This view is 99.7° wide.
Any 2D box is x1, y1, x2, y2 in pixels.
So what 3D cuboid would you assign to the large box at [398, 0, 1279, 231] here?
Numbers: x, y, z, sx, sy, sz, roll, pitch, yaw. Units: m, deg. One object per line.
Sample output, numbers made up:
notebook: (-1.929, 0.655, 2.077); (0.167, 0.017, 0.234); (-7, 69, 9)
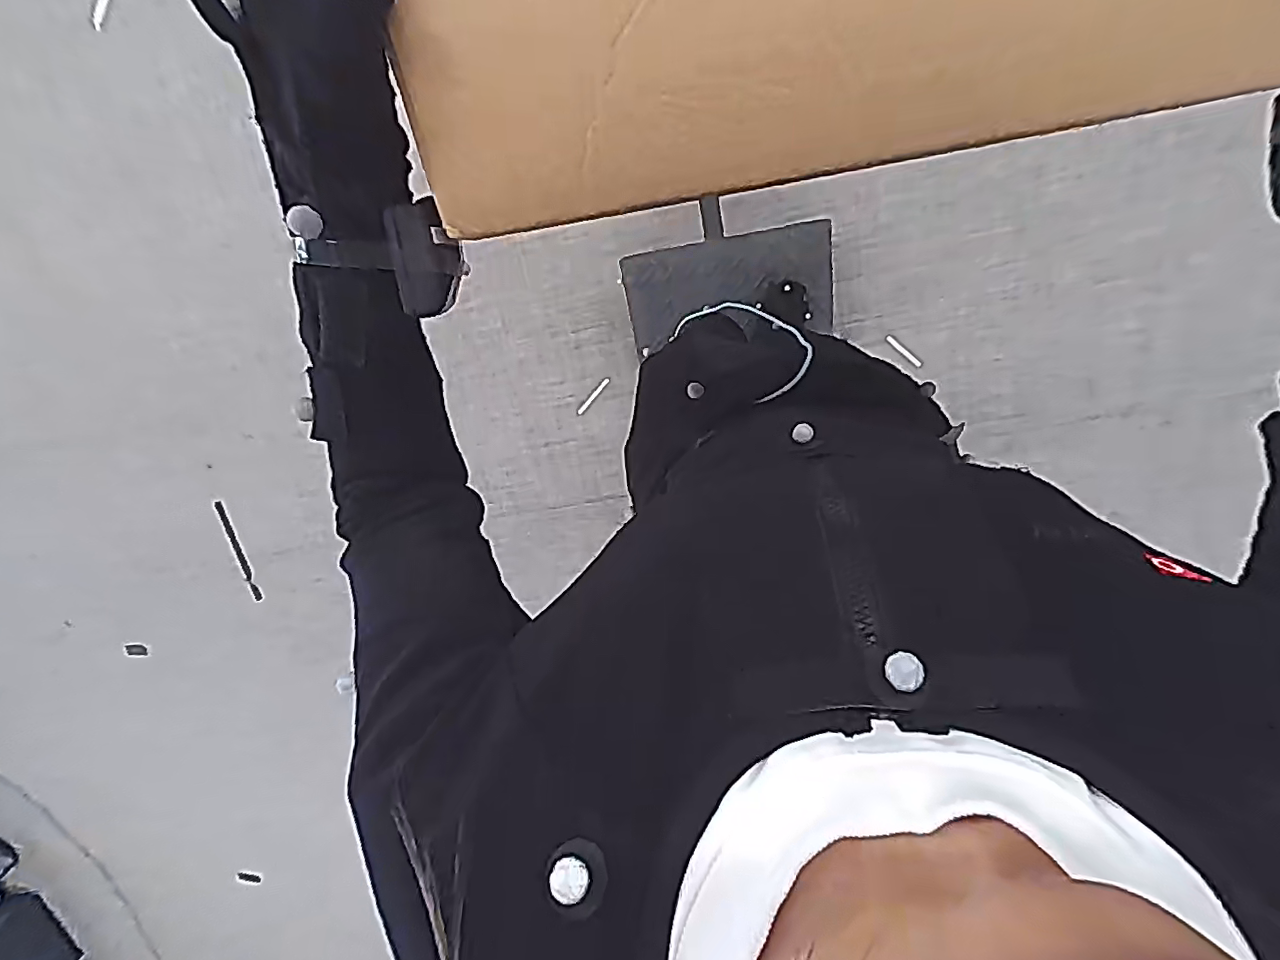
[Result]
large box: (0.084, -0.365, 0.331); (0.408, 0.320, 0.320); (-6, 118, 10)
